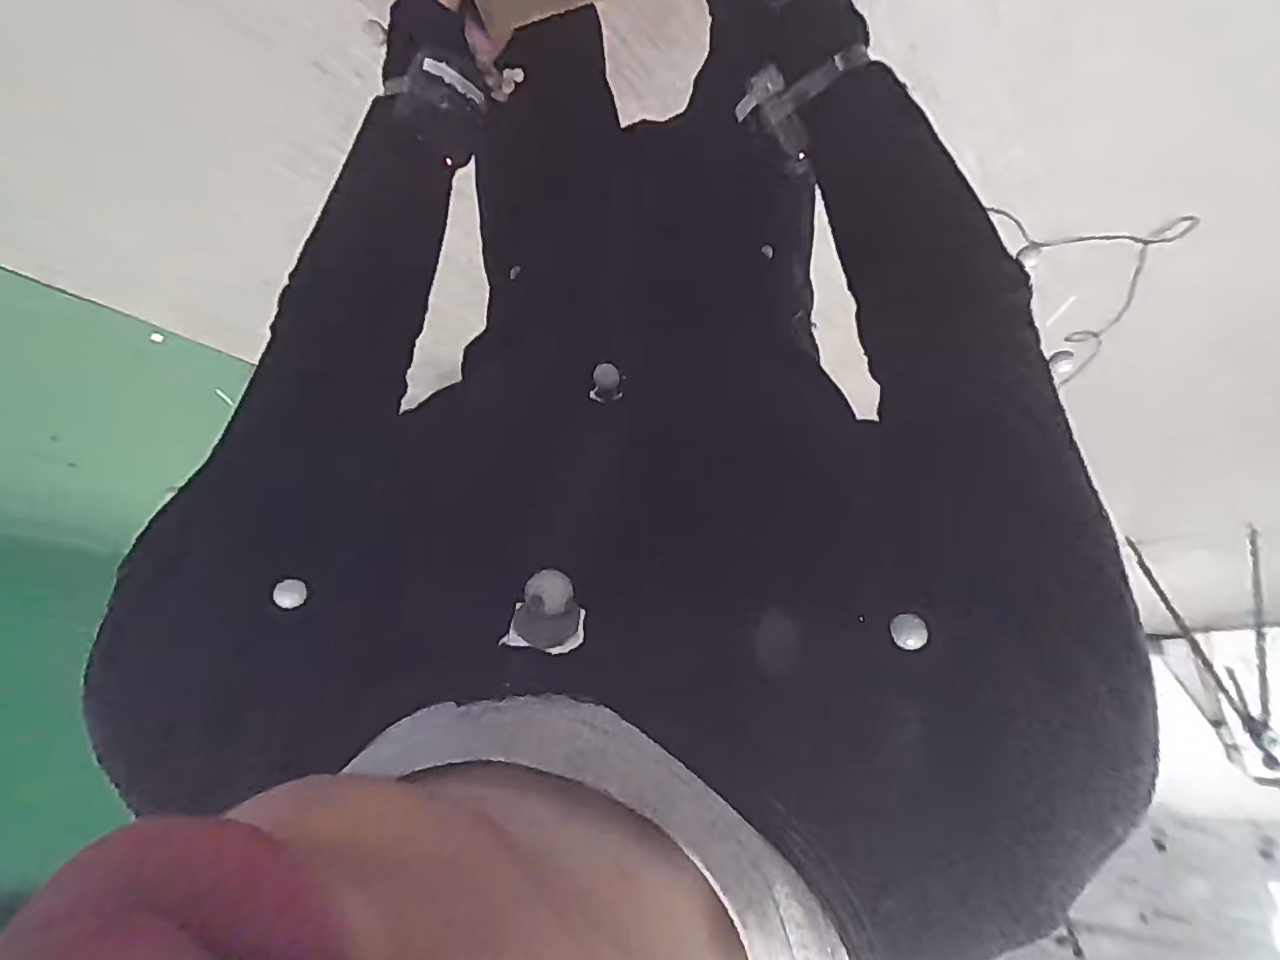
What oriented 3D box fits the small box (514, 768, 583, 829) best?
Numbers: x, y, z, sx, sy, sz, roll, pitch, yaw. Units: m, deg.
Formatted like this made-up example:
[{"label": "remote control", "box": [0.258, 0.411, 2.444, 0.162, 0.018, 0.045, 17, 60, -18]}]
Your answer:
[{"label": "small box", "box": [-0.321, 1.112, 1.892, 0.168, 0.176, 0.179, -26, 146, 34]}]
